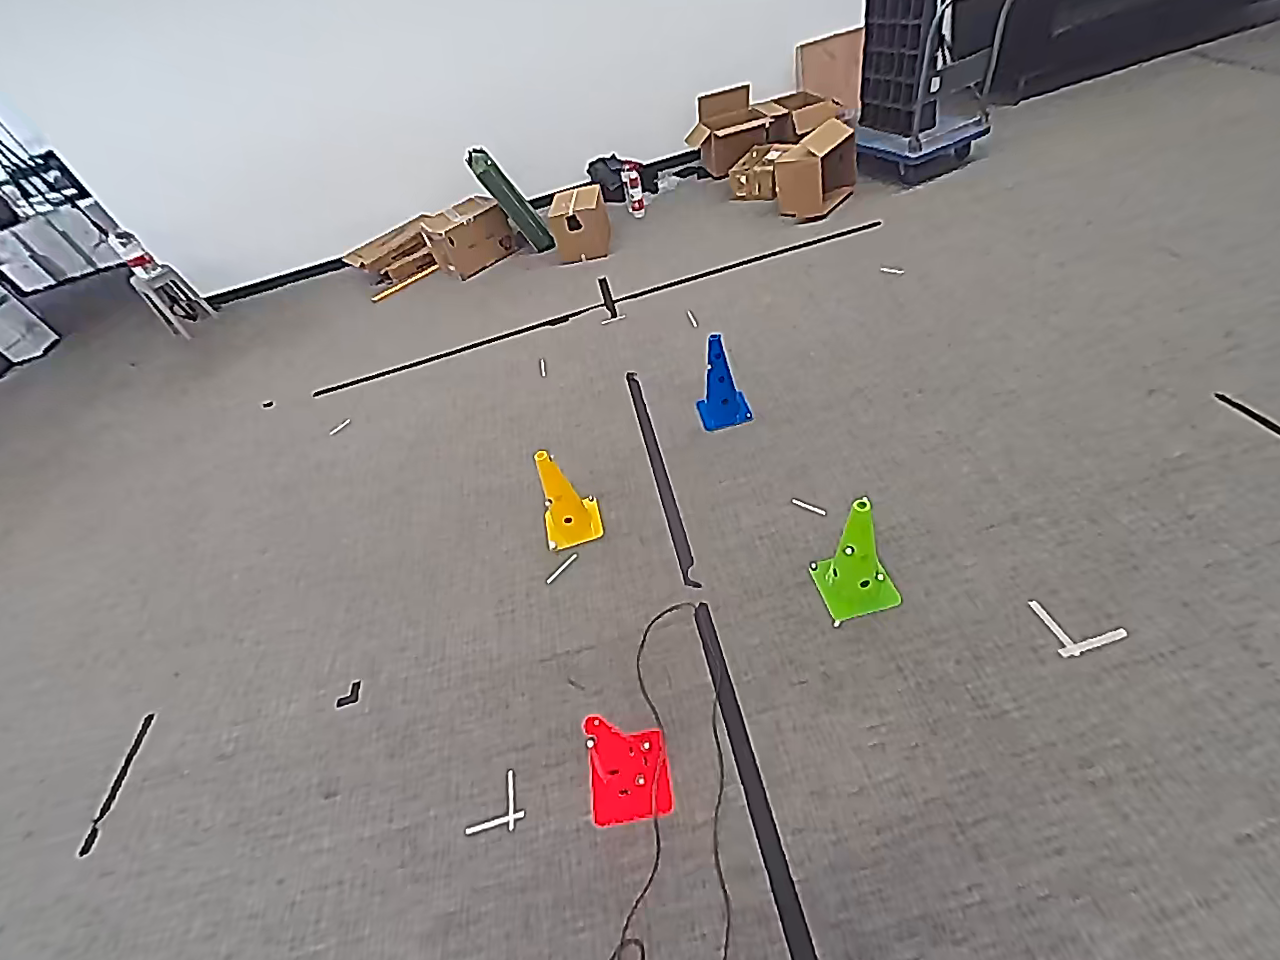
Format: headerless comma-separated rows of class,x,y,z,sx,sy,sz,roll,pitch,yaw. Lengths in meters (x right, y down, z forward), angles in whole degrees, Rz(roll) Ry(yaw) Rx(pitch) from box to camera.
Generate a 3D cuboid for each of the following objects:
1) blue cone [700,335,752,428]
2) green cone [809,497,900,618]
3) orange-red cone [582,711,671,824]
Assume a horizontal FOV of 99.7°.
blue cone,0.318,-0.397,2.116,0.192,0.380,0.193,-13,45,3
green cone,0.586,0.182,1.454,0.202,0.368,0.200,-15,45,0
orange-red cone,-0.065,0.618,1.232,0.199,0.360,0.198,-14,43,5
